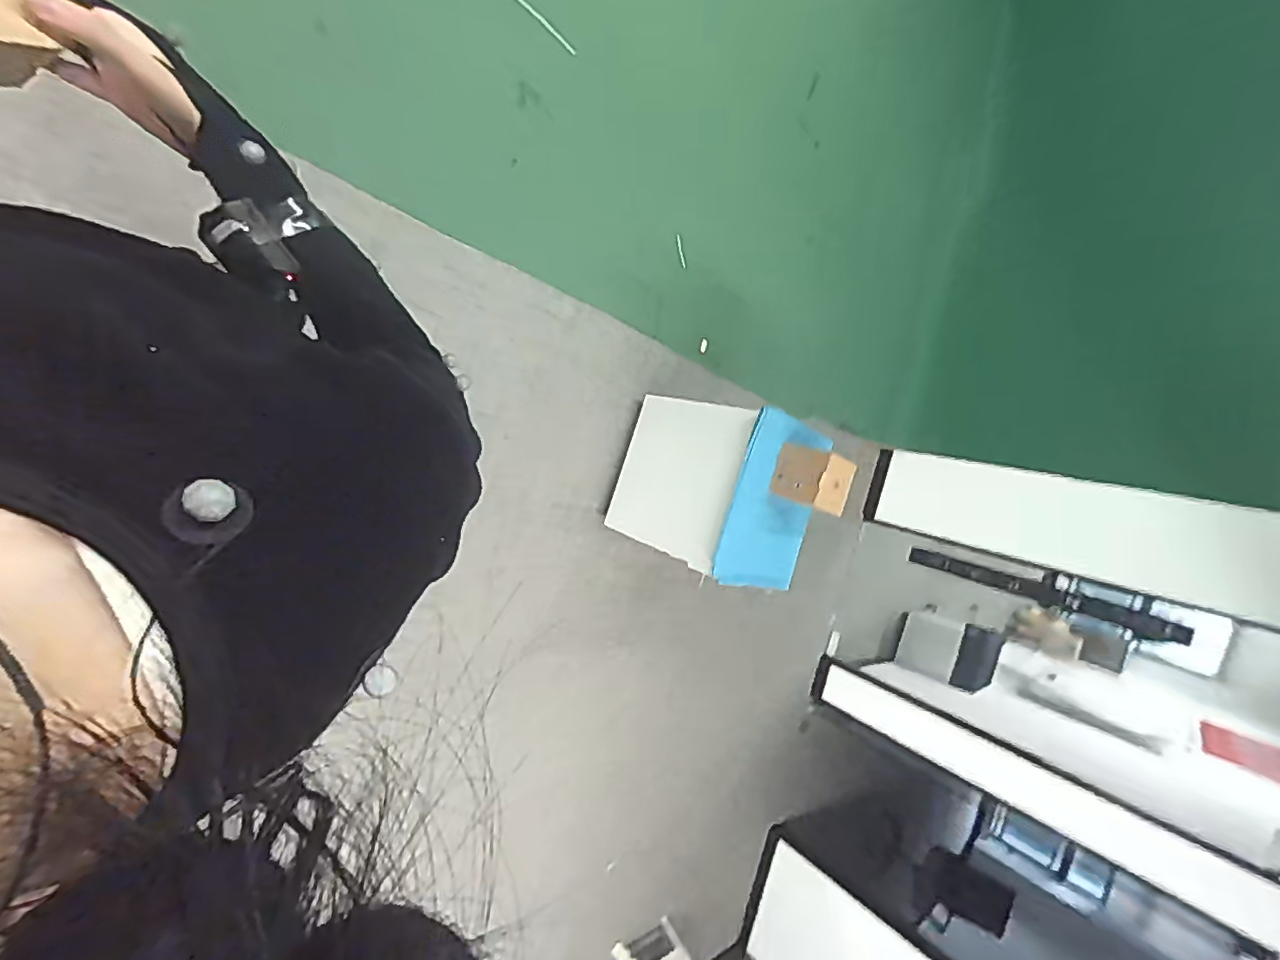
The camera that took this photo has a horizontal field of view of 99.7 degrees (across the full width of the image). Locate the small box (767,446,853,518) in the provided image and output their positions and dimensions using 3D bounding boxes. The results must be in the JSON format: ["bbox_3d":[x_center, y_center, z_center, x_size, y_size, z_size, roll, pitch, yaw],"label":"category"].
[{"bbox_3d":[0.514,0.003,1.647,0.179,0.176,0.168,18,91,-45],"label":"small box"}]
